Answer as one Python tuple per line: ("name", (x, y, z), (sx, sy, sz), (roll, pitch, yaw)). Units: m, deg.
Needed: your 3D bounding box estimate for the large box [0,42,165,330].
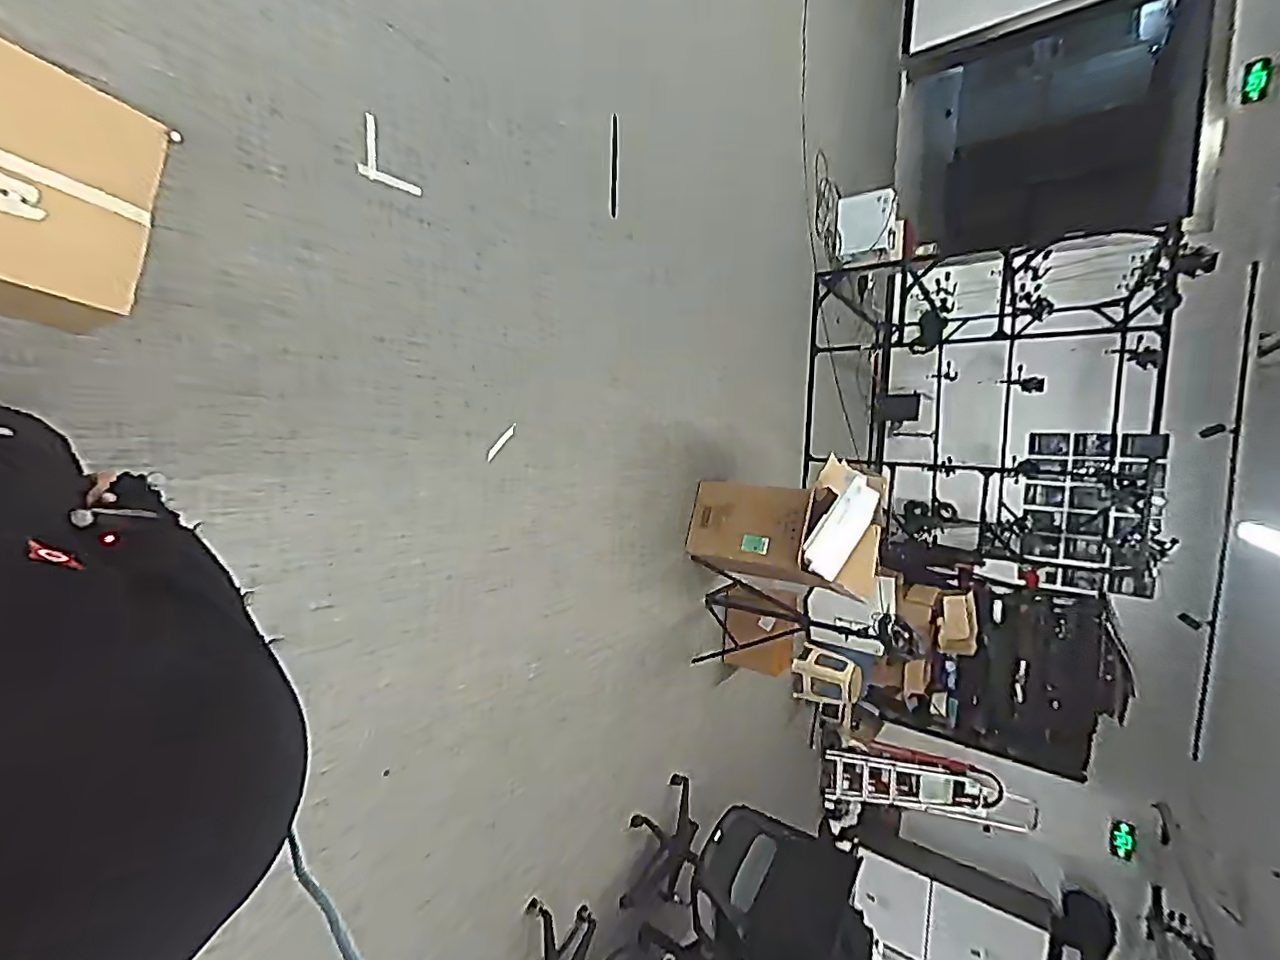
("large box", (-1.000, -0.439, 0.761), (0.408, 0.320, 0.320), (15, 82, -55))
